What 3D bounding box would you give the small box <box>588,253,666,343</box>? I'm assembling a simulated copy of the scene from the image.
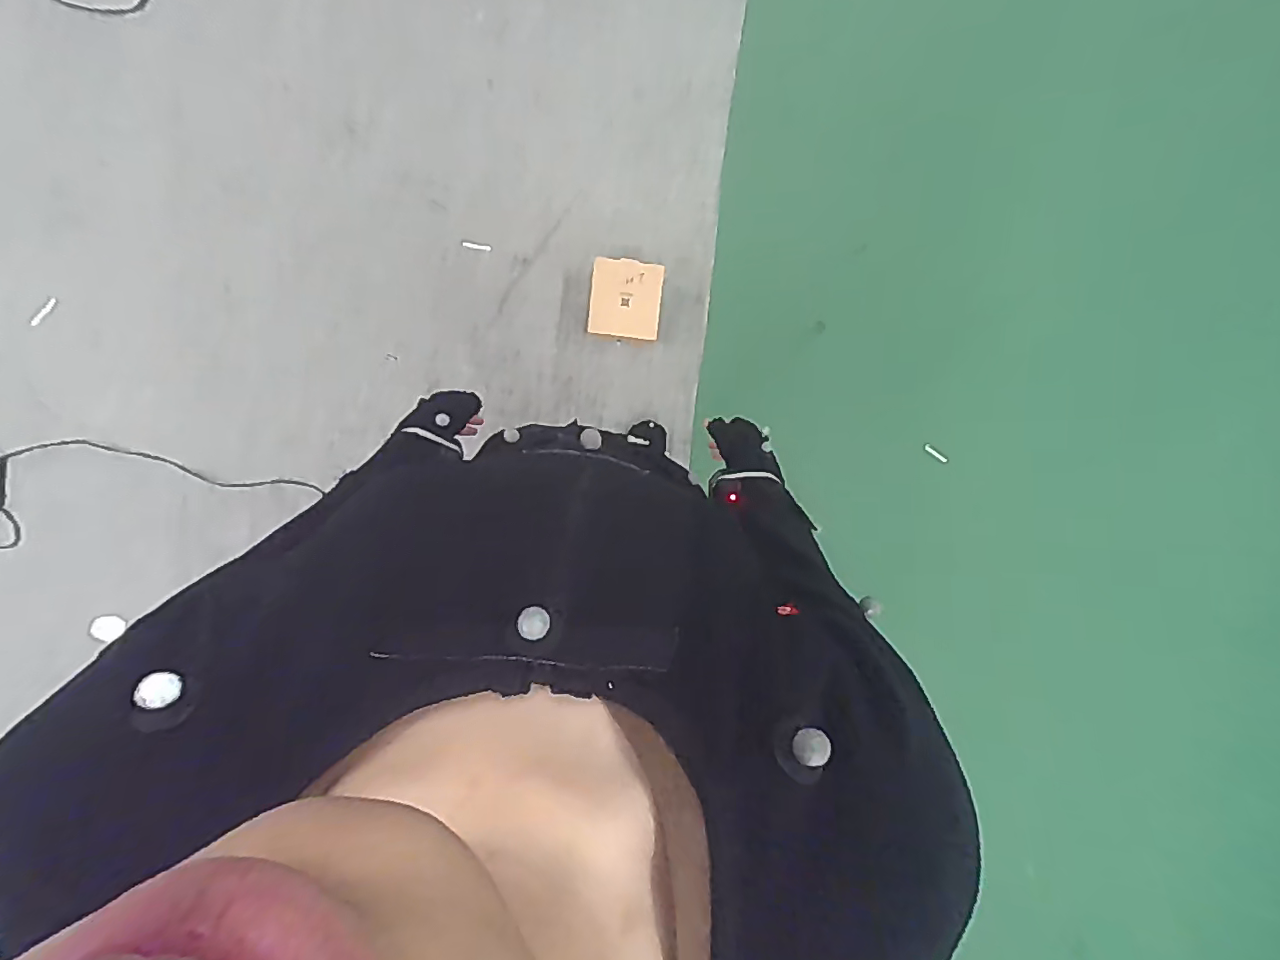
[{"bbox_3d":[-0.034,-0.438,1.332,0.168,0.176,0.179,6,99,-5],"label":"small box"}]
